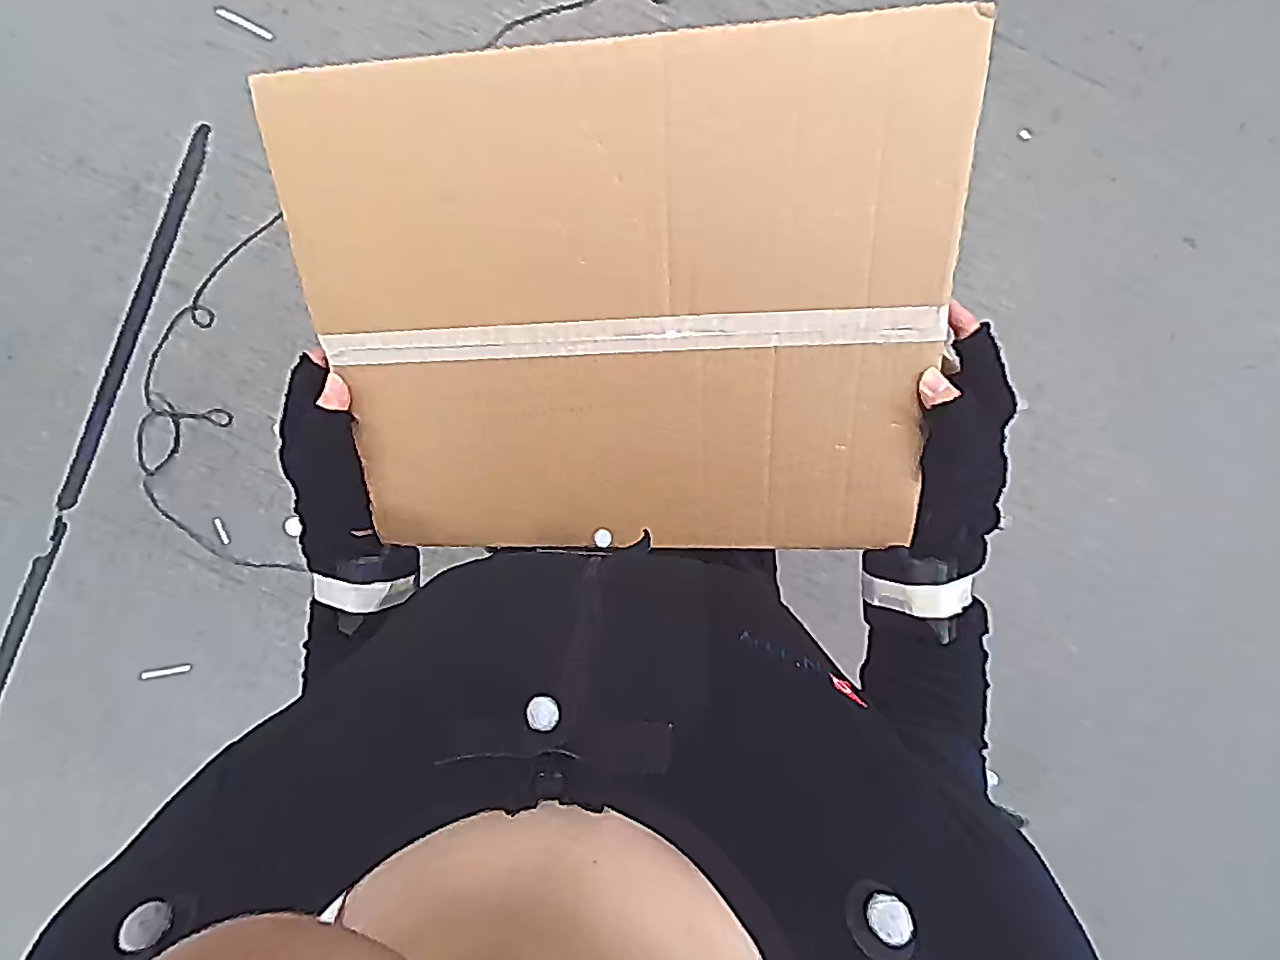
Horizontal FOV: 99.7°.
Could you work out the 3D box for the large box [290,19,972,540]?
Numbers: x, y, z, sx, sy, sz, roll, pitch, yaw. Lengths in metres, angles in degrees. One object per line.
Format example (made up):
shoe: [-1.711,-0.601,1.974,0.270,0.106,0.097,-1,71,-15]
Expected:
large box: [0.003,-0.155,0.501,0.408,0.320,0.320,-1,115,6]
